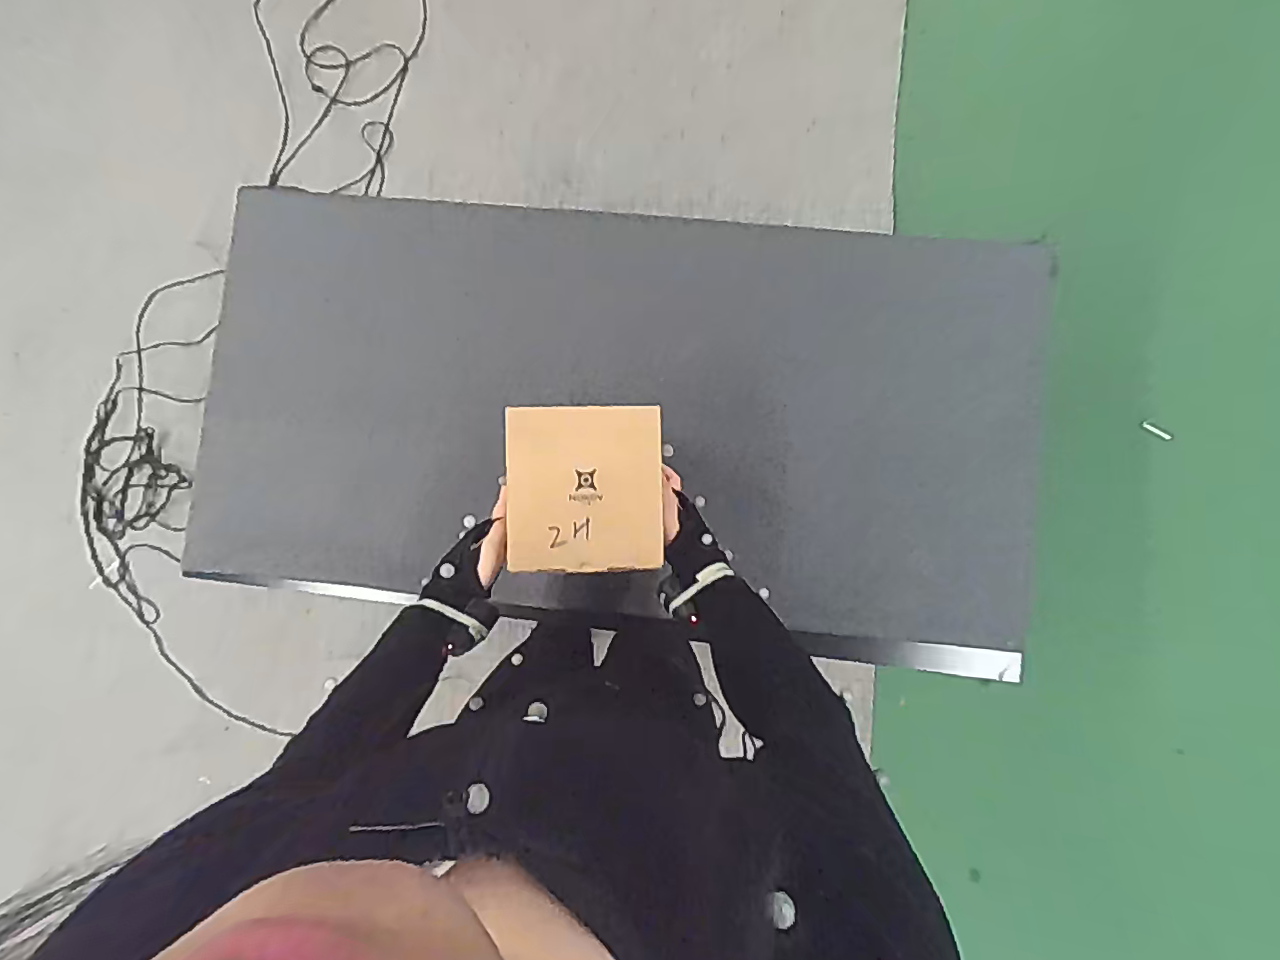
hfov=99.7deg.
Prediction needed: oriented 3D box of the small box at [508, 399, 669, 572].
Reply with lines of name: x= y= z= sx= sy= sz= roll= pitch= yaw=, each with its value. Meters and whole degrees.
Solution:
small box: x=-0.058 y=0.007 z=0.628 sx=0.168 sy=0.176 sz=0.179 roll=-1 pitch=90 yaw=-4
